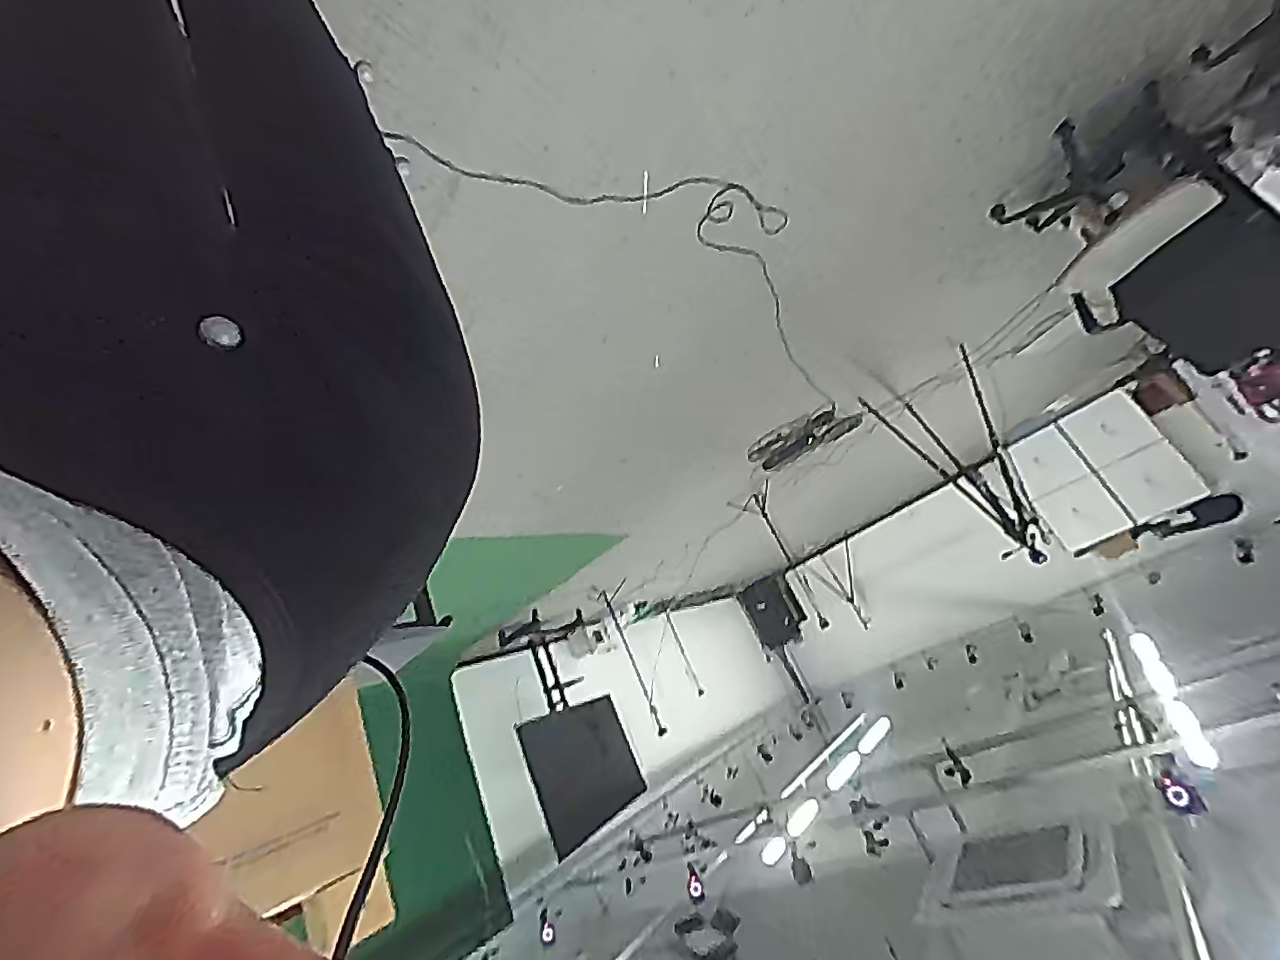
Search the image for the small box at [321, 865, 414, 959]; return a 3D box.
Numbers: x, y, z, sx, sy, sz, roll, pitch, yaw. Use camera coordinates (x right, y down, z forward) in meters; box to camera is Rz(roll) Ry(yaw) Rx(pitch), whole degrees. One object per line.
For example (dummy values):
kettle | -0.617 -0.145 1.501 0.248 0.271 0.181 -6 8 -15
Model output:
small box | -0.802 1.269 1.584 0.179 0.176 0.168 -1 147 -50
